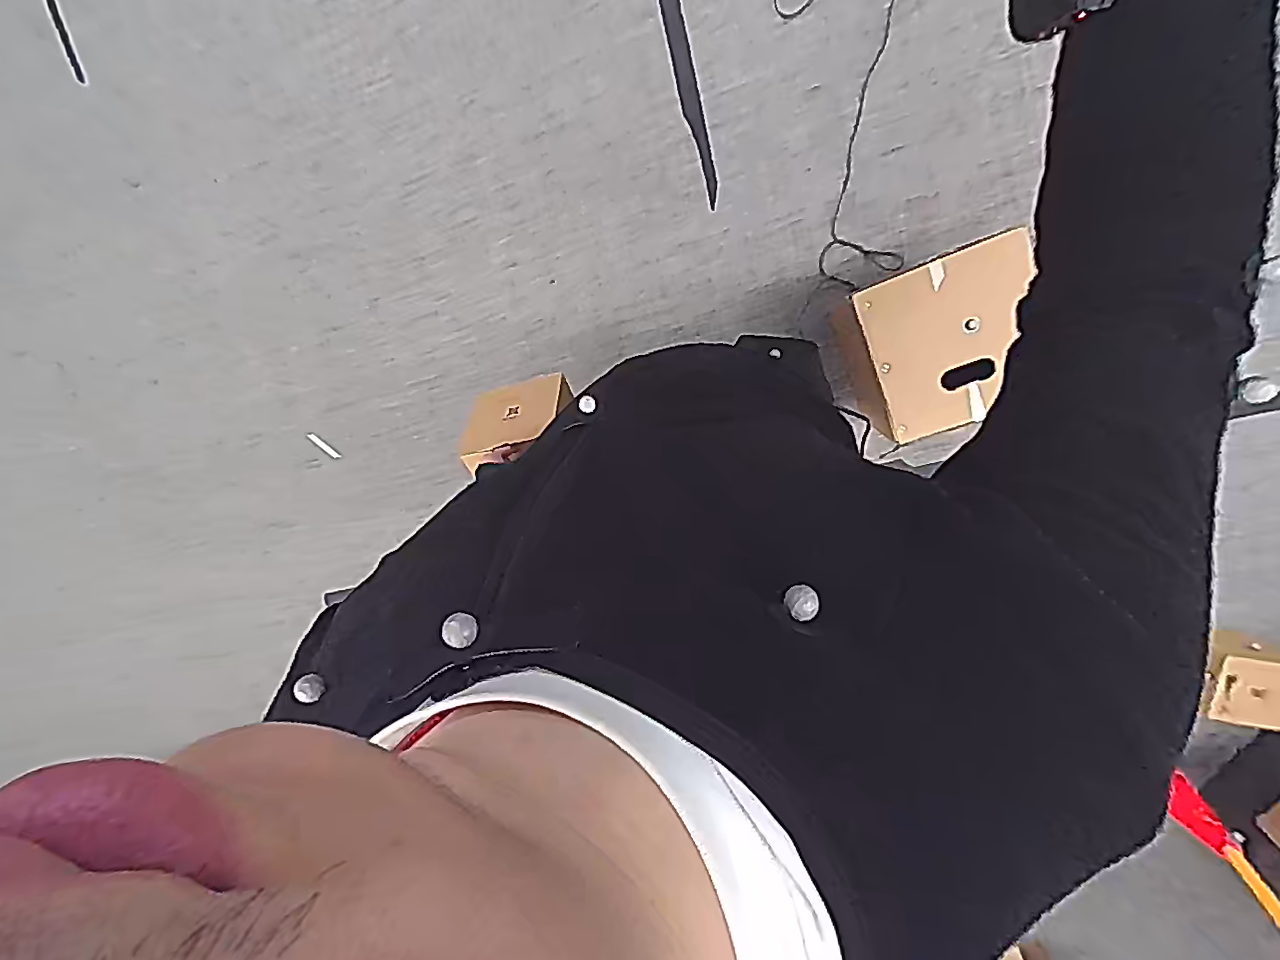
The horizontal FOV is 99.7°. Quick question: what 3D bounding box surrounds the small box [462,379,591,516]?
[{"bbox_3d":[-0.194,-0.051,0.984,0.168,0.179,0.176,-11,134,10],"label":"small box"}]
